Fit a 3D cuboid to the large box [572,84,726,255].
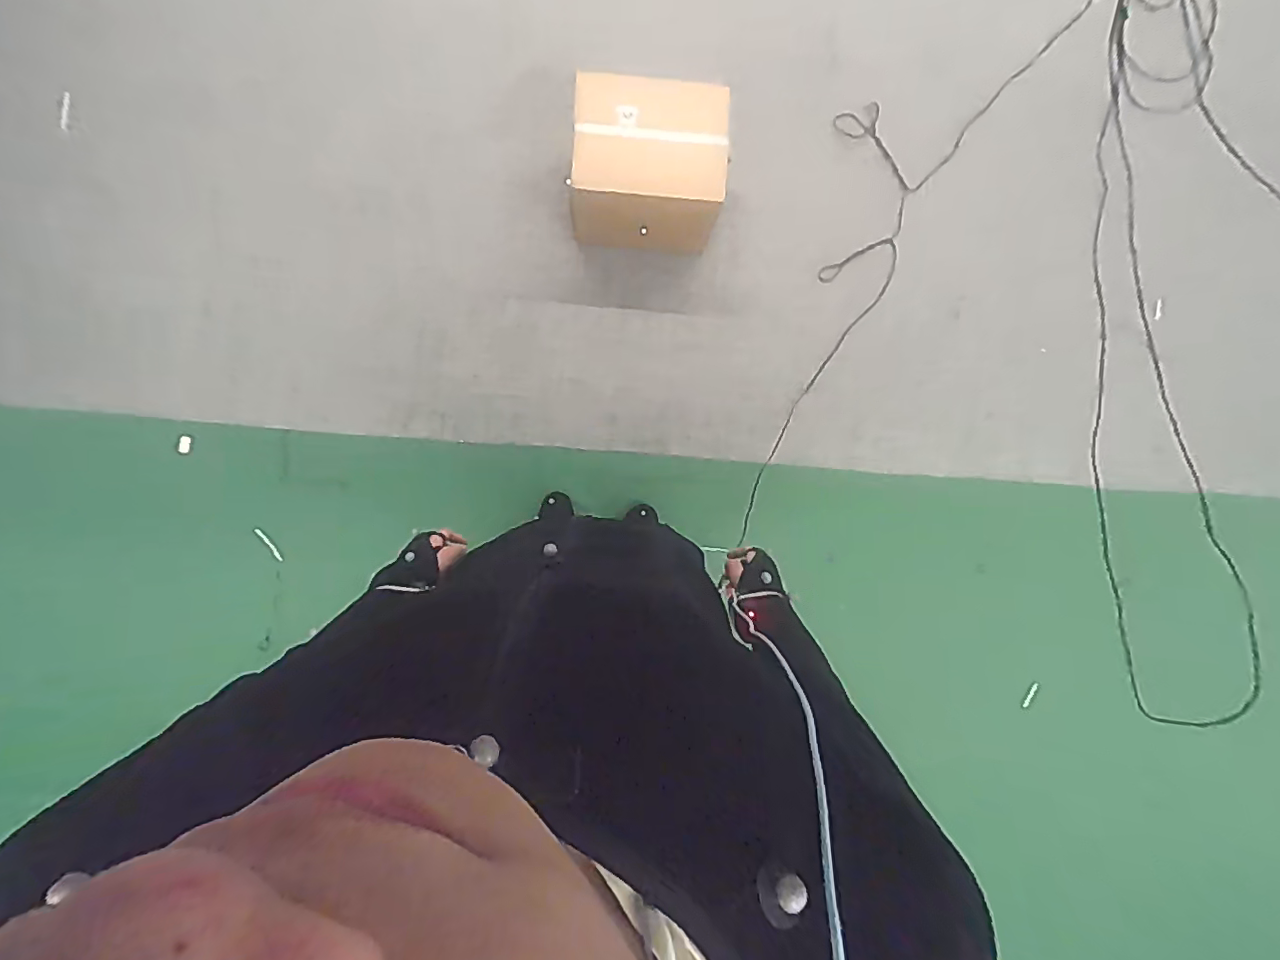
[{"bbox_3d":[0.020,-0.872,1.563,0.408,0.320,0.320,2,87,-3],"label":"large box"}]
